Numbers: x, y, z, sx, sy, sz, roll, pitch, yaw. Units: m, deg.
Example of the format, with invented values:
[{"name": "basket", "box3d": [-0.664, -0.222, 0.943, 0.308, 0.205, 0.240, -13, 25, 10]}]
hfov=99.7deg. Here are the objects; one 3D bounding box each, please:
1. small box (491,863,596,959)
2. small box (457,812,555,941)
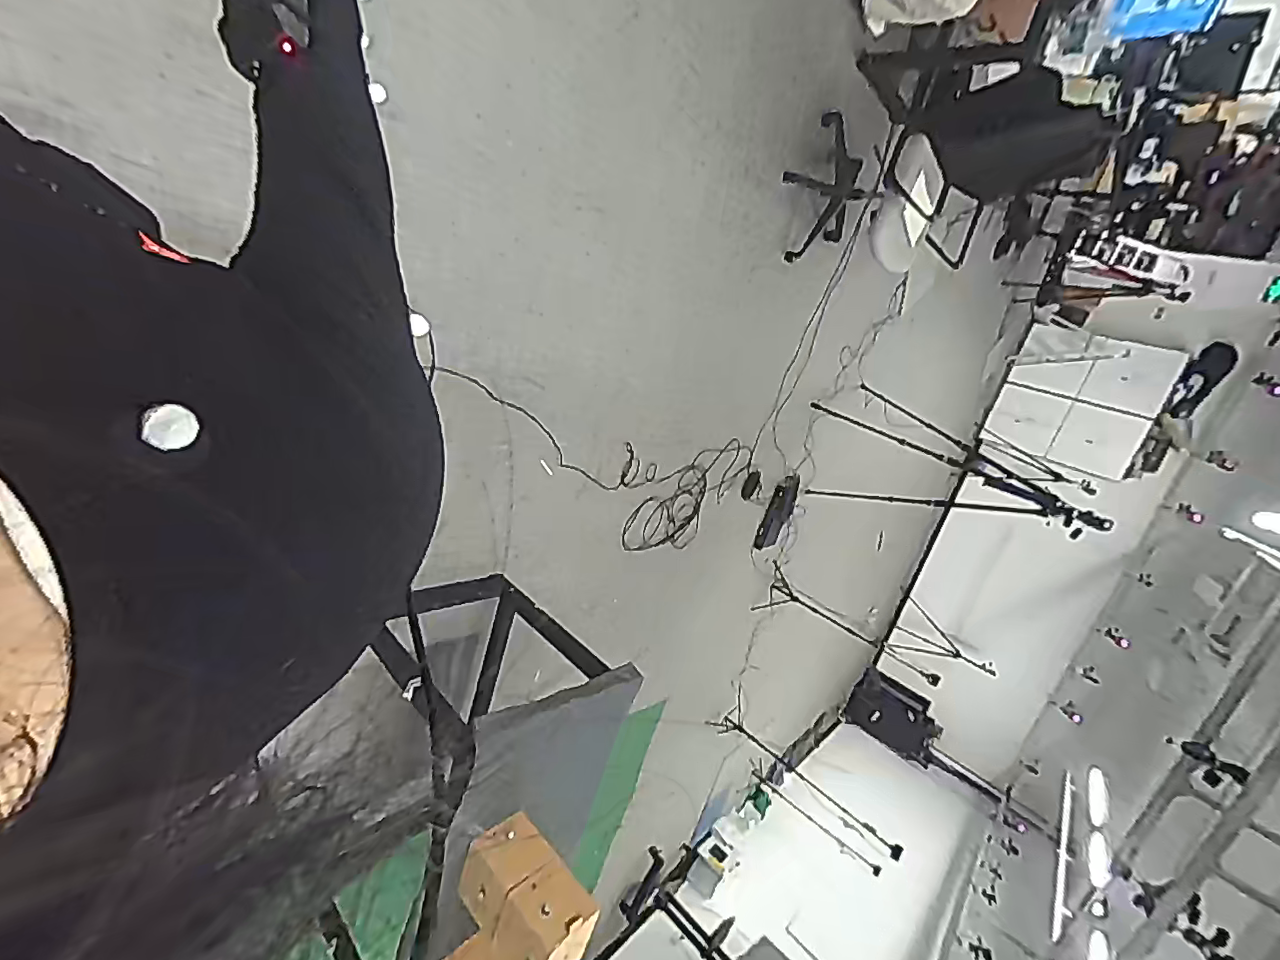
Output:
[{"name": "small box", "box3d": [-0.240, 1.089, 1.324, 0.168, 0.176, 0.179, 2, 112, -51]}, {"name": "small box", "box3d": [-0.357, 1.029, 1.420, 0.168, 0.176, 0.179, 0, 112, -52]}]
